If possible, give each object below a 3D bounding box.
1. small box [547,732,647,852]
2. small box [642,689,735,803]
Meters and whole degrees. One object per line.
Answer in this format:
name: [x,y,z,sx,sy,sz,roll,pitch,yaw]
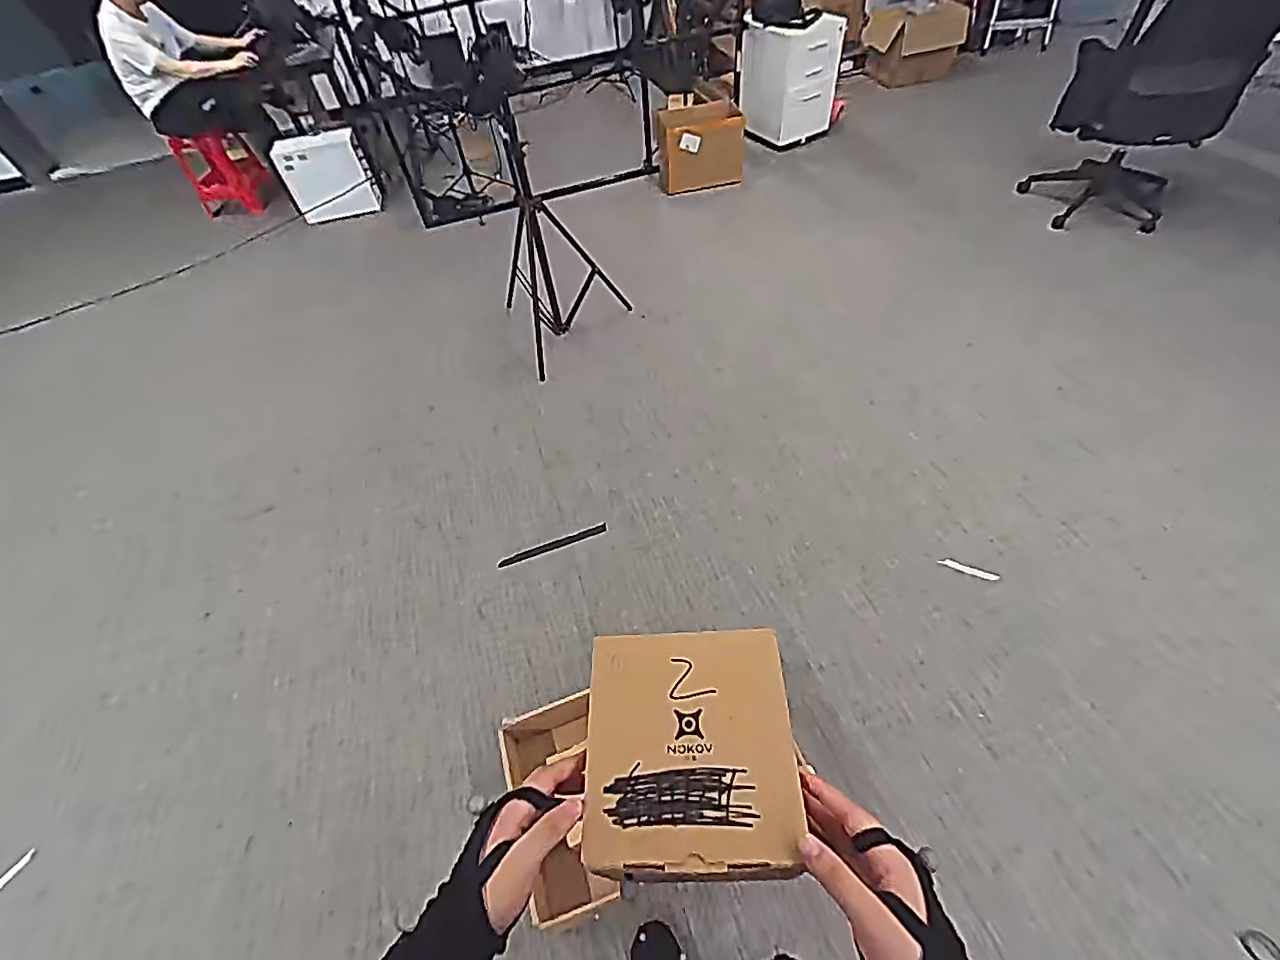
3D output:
small box: [-0.090,0.691,1.191,0.168,0.176,0.179,-19,52,-11]
small box: [0.106,0.610,1.237,0.168,0.176,0.179,-15,52,-5]
